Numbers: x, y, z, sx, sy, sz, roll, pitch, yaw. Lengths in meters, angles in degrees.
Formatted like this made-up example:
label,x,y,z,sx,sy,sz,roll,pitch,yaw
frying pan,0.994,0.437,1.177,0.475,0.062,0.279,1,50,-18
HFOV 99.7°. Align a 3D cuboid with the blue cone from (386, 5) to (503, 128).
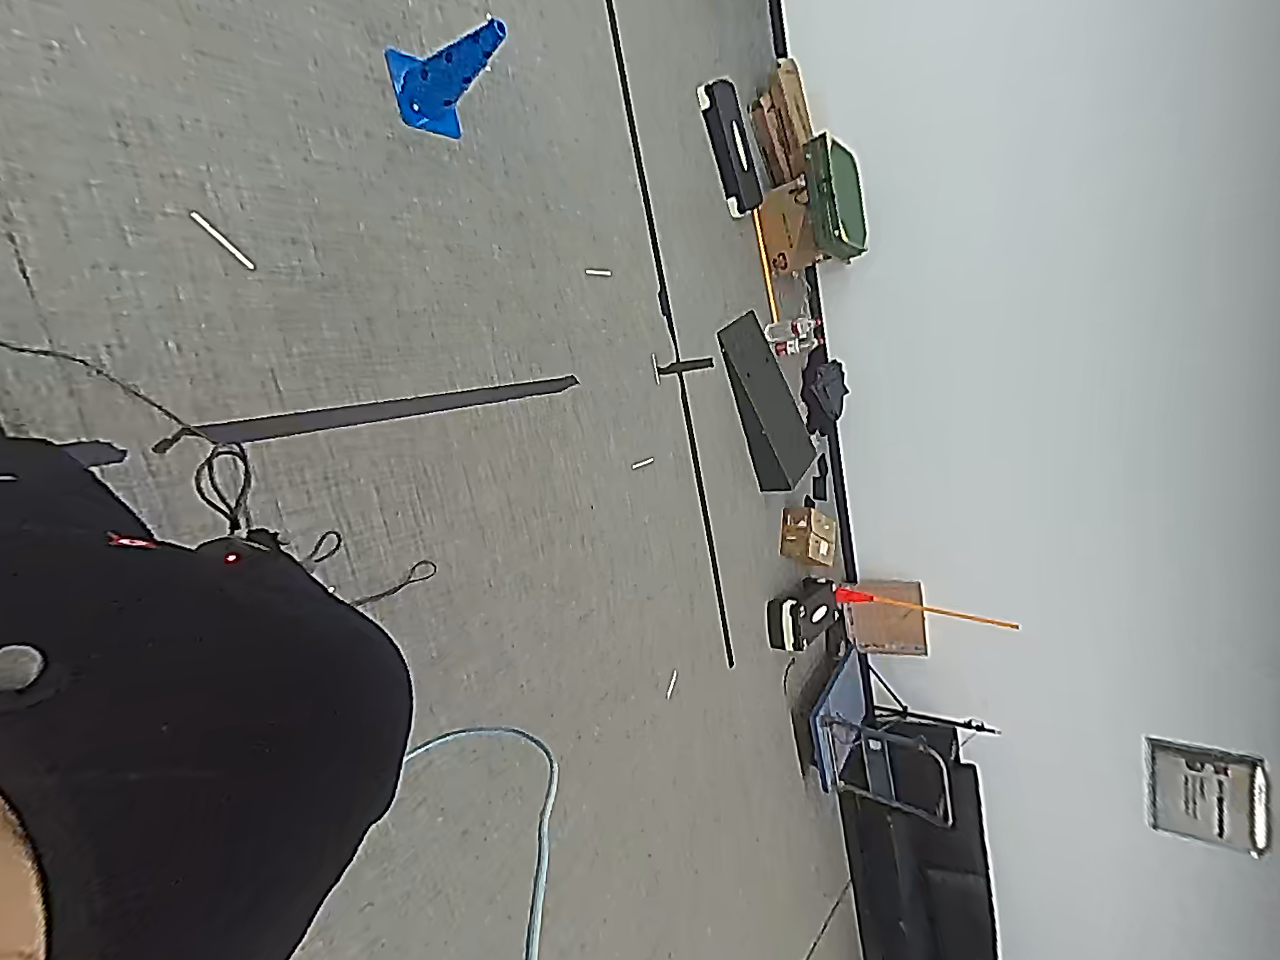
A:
label,x,y,z,sx,sy,sz,roll,pitch,yaw
blue cone,-0.498,-1.142,1.462,0.193,0.380,0.192,-22,104,-51
